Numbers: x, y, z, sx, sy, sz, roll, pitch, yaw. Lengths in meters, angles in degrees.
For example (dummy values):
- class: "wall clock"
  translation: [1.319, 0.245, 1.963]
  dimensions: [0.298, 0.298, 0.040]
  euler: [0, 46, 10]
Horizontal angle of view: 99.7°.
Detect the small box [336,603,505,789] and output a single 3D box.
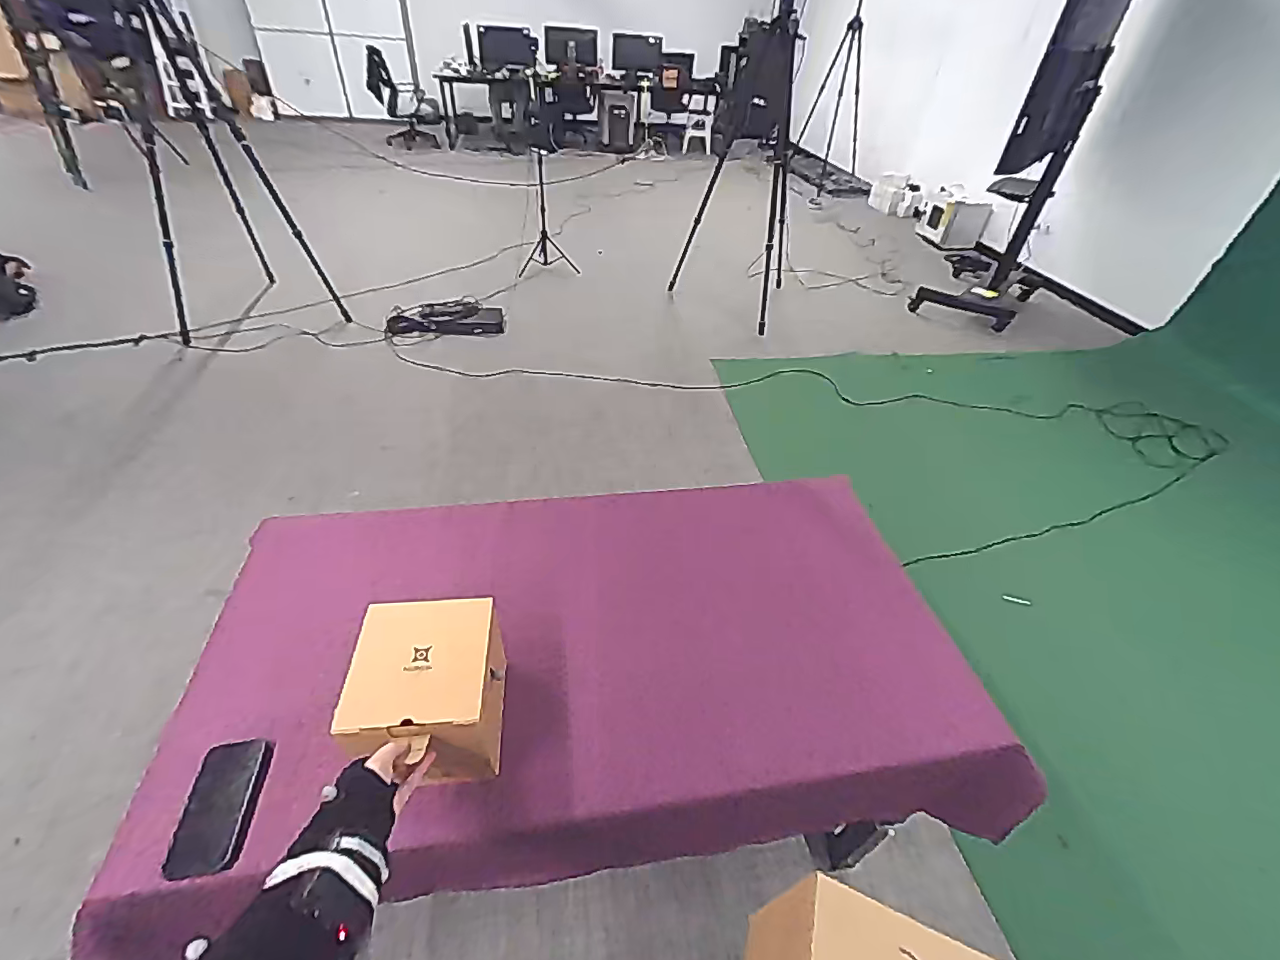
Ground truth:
- class: "small box"
  translation: [-0.279, 0.290, 0.735]
  dimensions: [0.168, 0.176, 0.179]
  euler: [-2, 42, -7]
